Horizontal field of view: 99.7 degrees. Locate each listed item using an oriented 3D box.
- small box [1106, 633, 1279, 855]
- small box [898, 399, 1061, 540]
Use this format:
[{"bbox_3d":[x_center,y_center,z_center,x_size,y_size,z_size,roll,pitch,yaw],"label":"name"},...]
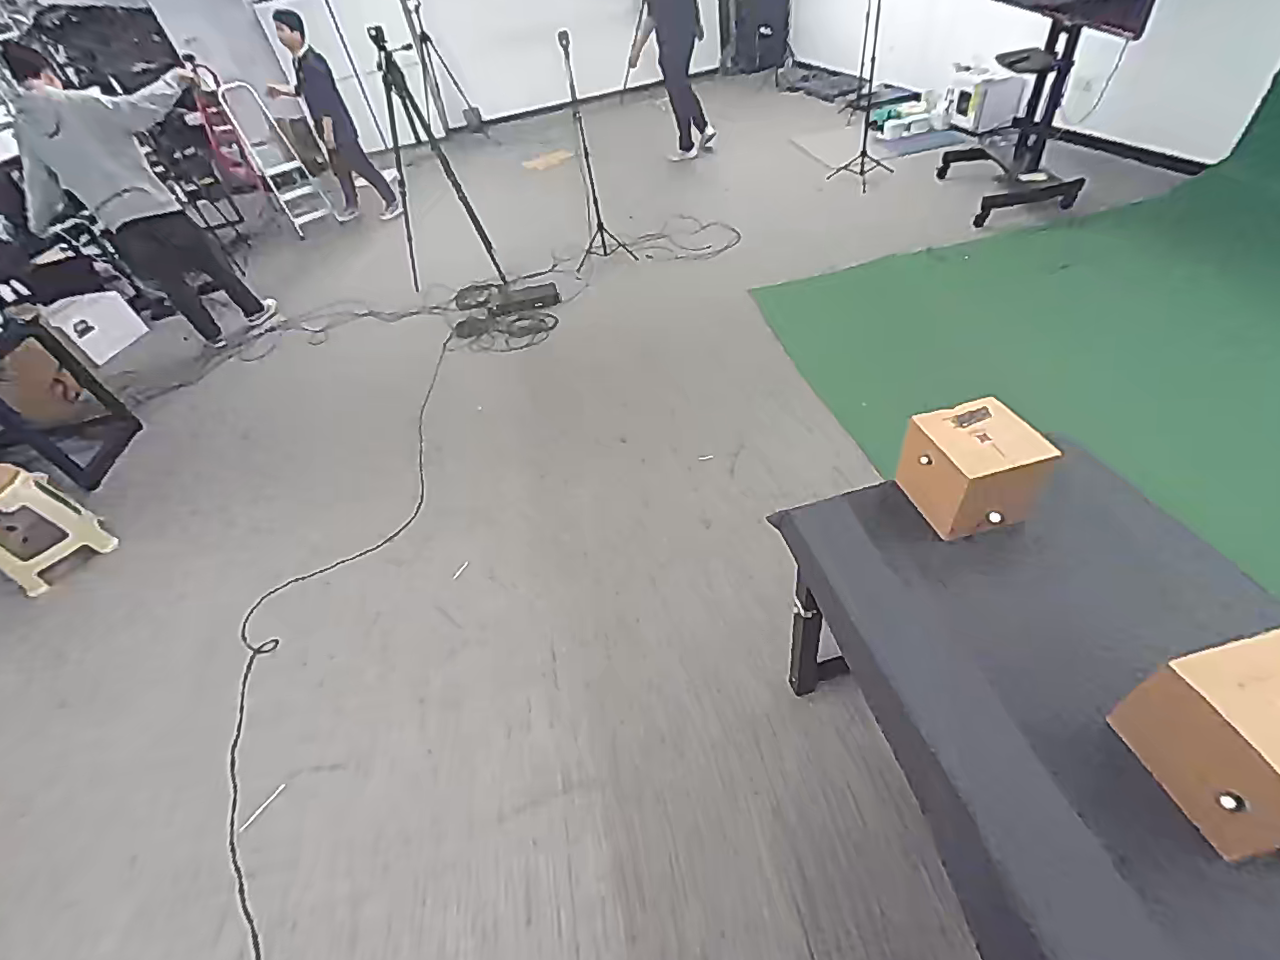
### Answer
[{"bbox_3d":[0.728,0.317,0.642,0.168,0.176,0.179,-13,43,-5],"label":"small box"},{"bbox_3d":[0.608,-0.019,1.000,0.168,0.176,0.179,-14,46,-3],"label":"small box"}]
